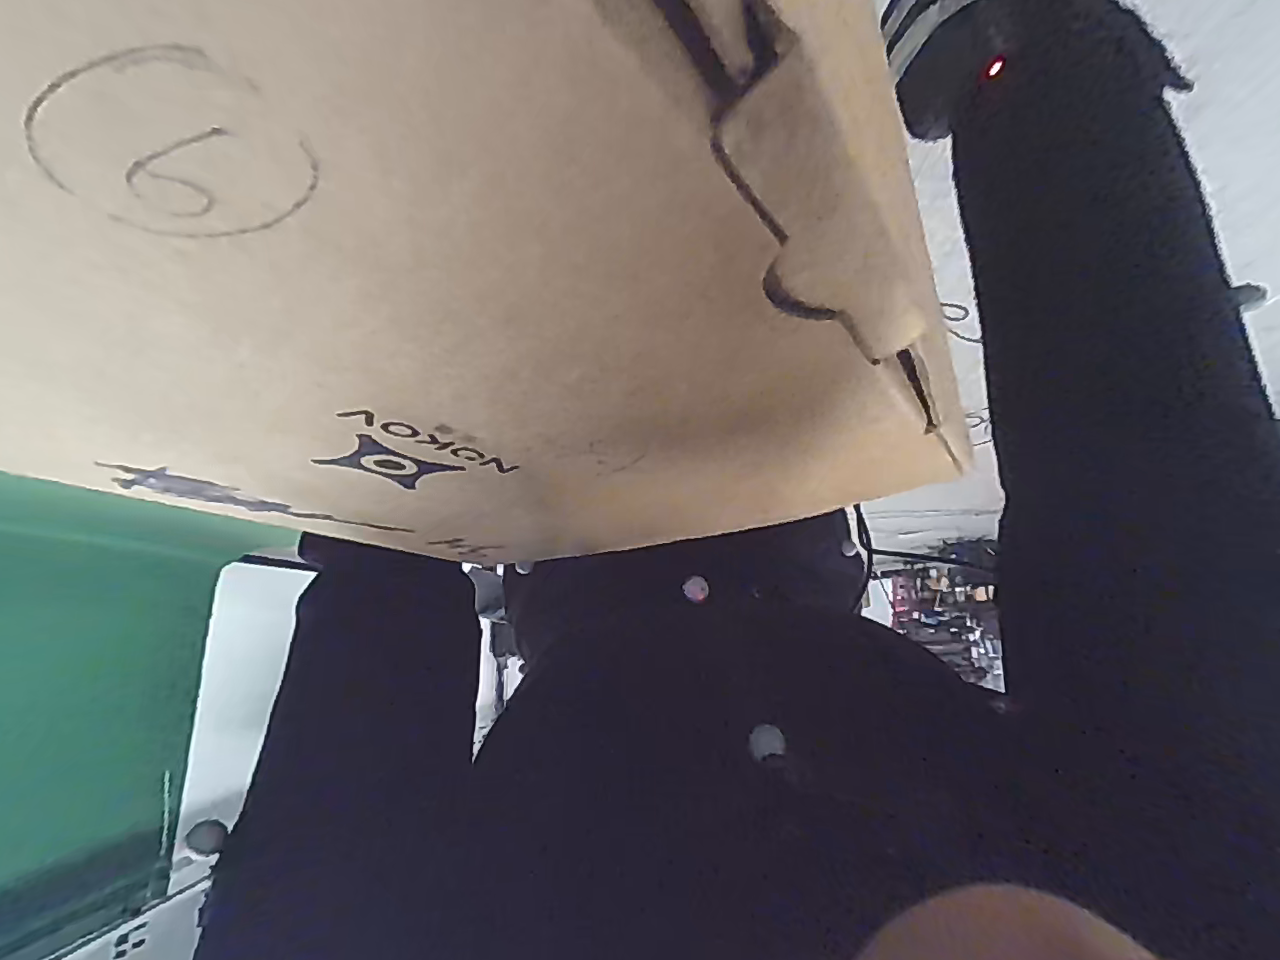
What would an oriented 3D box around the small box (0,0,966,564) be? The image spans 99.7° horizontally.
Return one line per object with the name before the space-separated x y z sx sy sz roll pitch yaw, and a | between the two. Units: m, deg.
small box | -0.046 -0.083 0.136 0.179 0.176 0.168 -15 154 36
